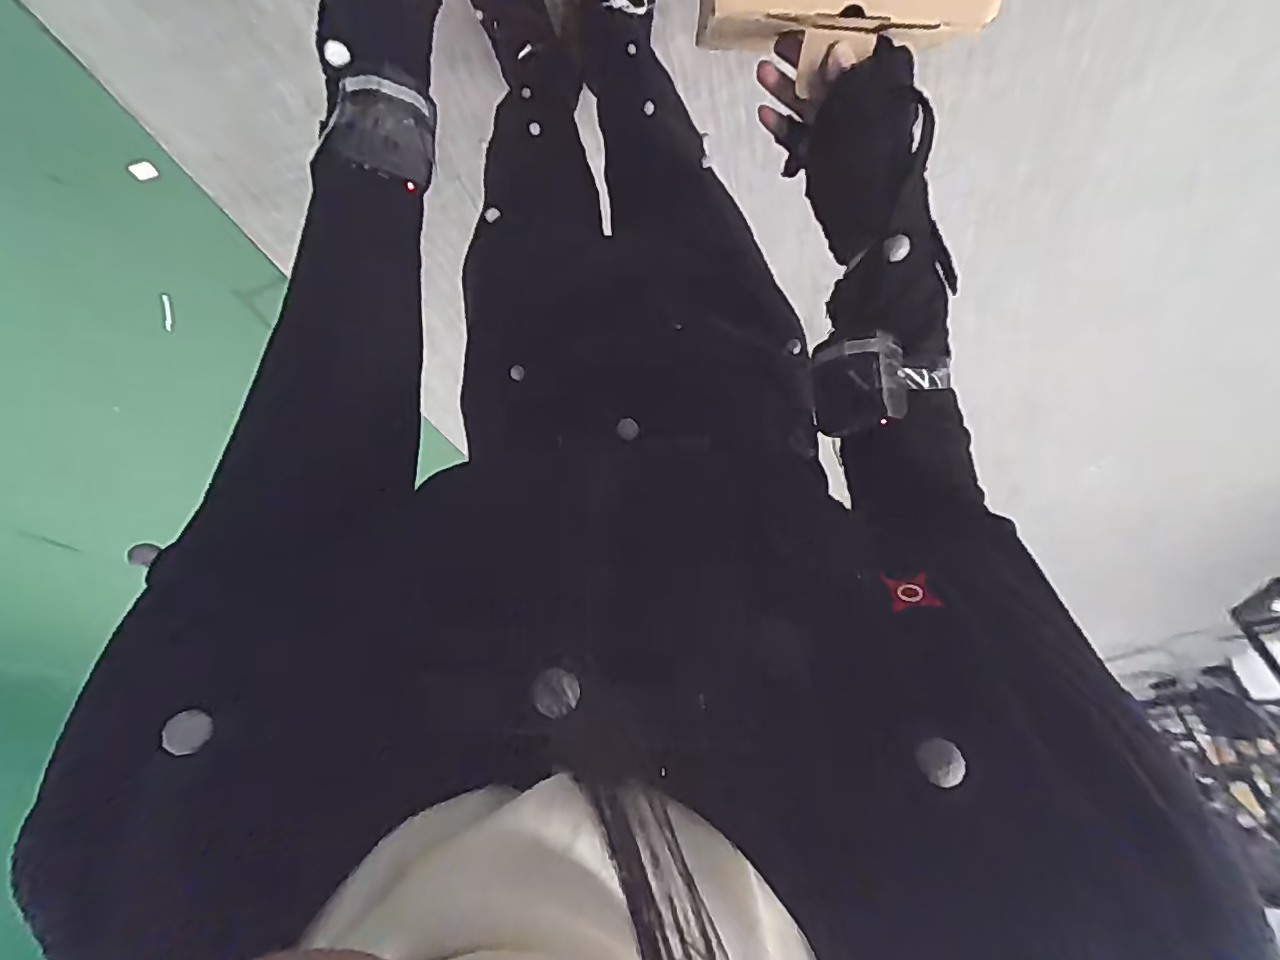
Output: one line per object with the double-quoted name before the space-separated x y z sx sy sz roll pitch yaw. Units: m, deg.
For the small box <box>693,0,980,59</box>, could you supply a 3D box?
"small box" 0.125 -0.385 0.344 0.168 0.176 0.179 3 124 0
